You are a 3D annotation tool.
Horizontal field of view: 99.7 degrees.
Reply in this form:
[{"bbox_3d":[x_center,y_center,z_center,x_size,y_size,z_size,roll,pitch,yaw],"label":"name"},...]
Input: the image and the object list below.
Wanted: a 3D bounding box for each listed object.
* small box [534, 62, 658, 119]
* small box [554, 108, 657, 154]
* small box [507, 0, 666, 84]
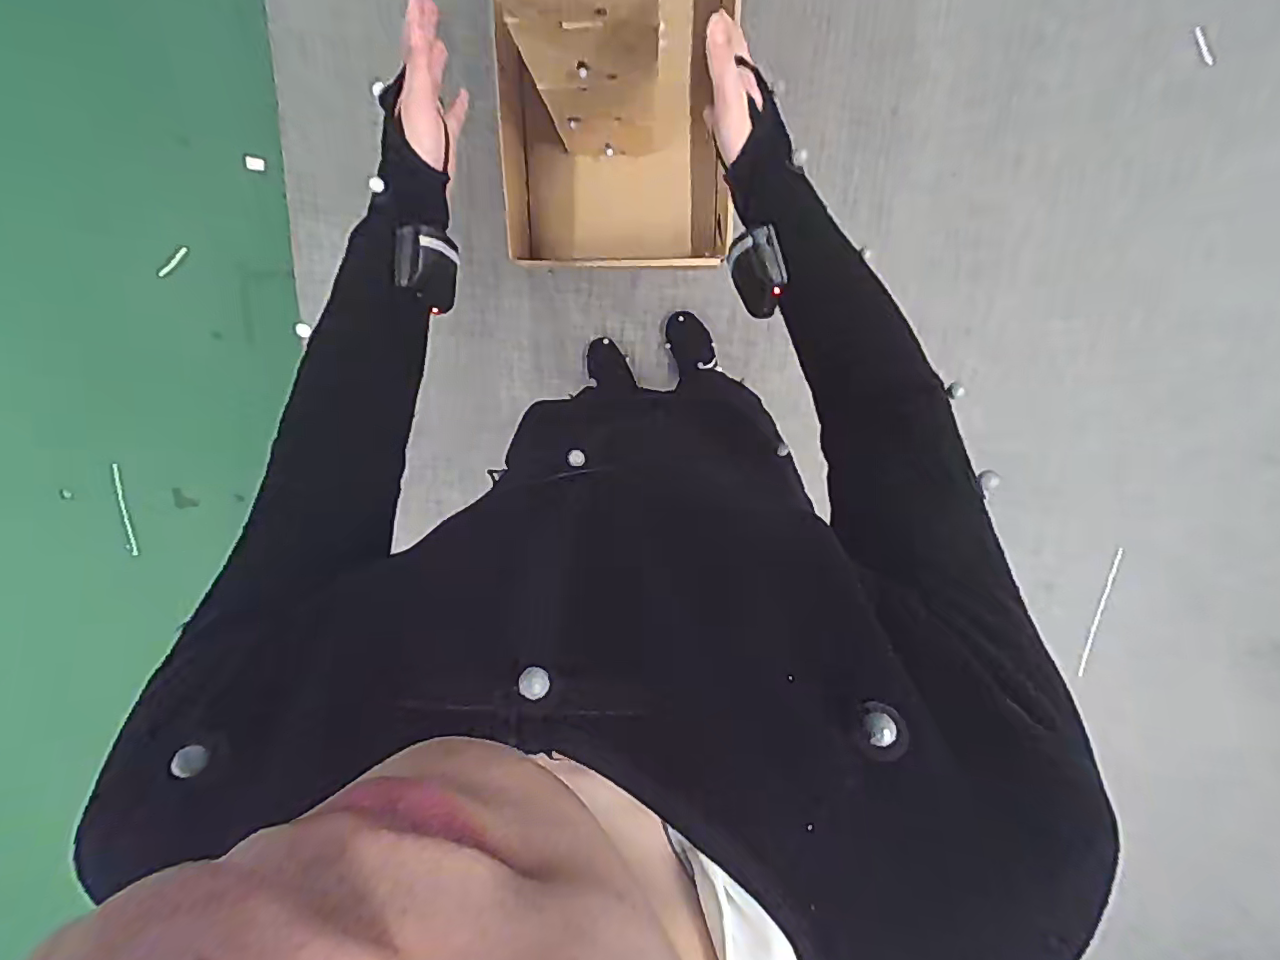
[{"bbox_3d":[-0.058,-0.637,0.768,0.168,0.176,0.179,-2,105,1],"label":"small box"},{"bbox_3d":[-0.054,-0.682,0.924,0.168,0.176,0.179,1,106,2],"label":"small box"},{"bbox_3d":[-0.058,-0.587,0.613,0.168,0.176,0.179,-2,107,1],"label":"small box"}]
